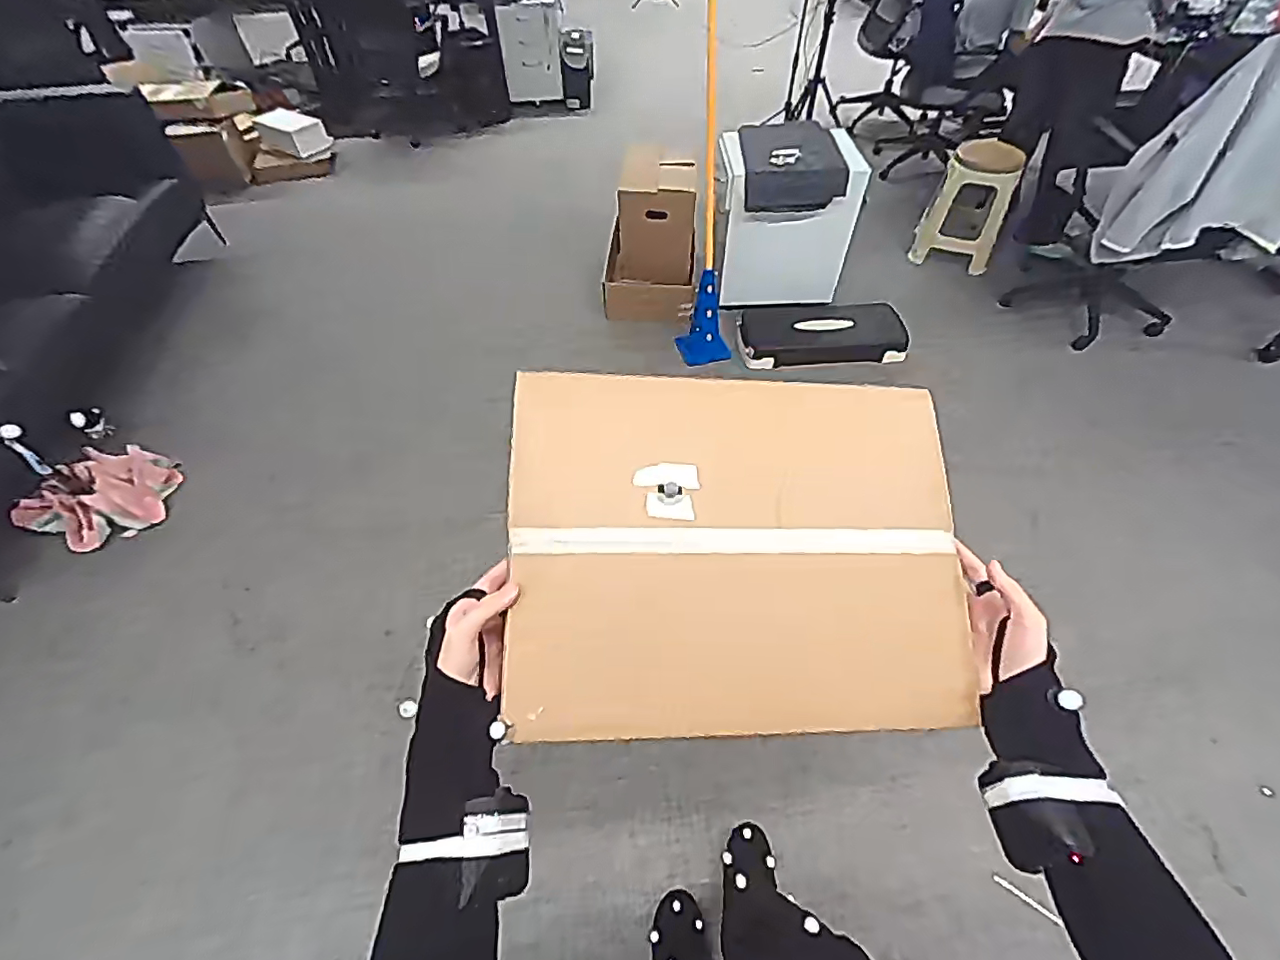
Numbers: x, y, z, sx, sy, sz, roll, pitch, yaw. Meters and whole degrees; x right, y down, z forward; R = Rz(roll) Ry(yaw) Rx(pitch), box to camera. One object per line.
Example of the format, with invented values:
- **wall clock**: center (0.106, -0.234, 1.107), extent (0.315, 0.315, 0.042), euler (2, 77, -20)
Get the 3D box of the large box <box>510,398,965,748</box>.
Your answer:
- **large box**: center (0.074, 0.106, 0.638), extent (0.408, 0.320, 0.320), euler (0, 74, -6)
